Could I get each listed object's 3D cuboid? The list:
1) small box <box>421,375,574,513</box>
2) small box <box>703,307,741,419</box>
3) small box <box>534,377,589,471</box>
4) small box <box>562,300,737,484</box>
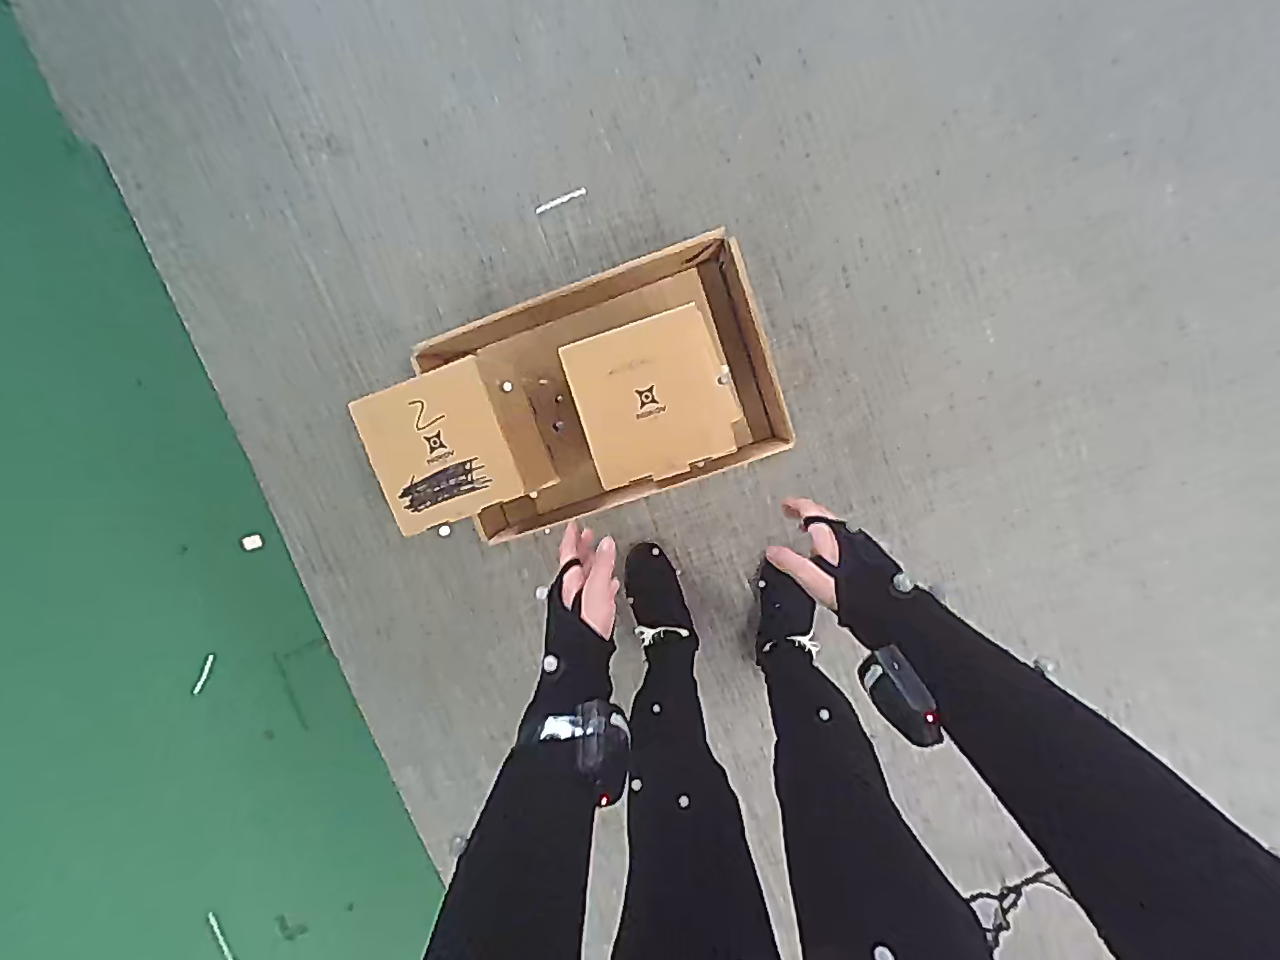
[{"bbox_3d":[-0.216,-0.063,0.881,0.179,0.176,0.168,-20,96,5],"label":"small box"},{"bbox_3d":[0.043,-0.150,0.850,0.179,0.176,0.168,-21,97,7],"label":"small box"},{"bbox_3d":[-0.208,-0.091,1.045,0.168,0.176,0.179,-19,98,6],"label":"small box"},{"bbox_3d":[0.018,-0.111,0.693,0.168,0.176,0.179,-16,98,6],"label":"small box"}]
